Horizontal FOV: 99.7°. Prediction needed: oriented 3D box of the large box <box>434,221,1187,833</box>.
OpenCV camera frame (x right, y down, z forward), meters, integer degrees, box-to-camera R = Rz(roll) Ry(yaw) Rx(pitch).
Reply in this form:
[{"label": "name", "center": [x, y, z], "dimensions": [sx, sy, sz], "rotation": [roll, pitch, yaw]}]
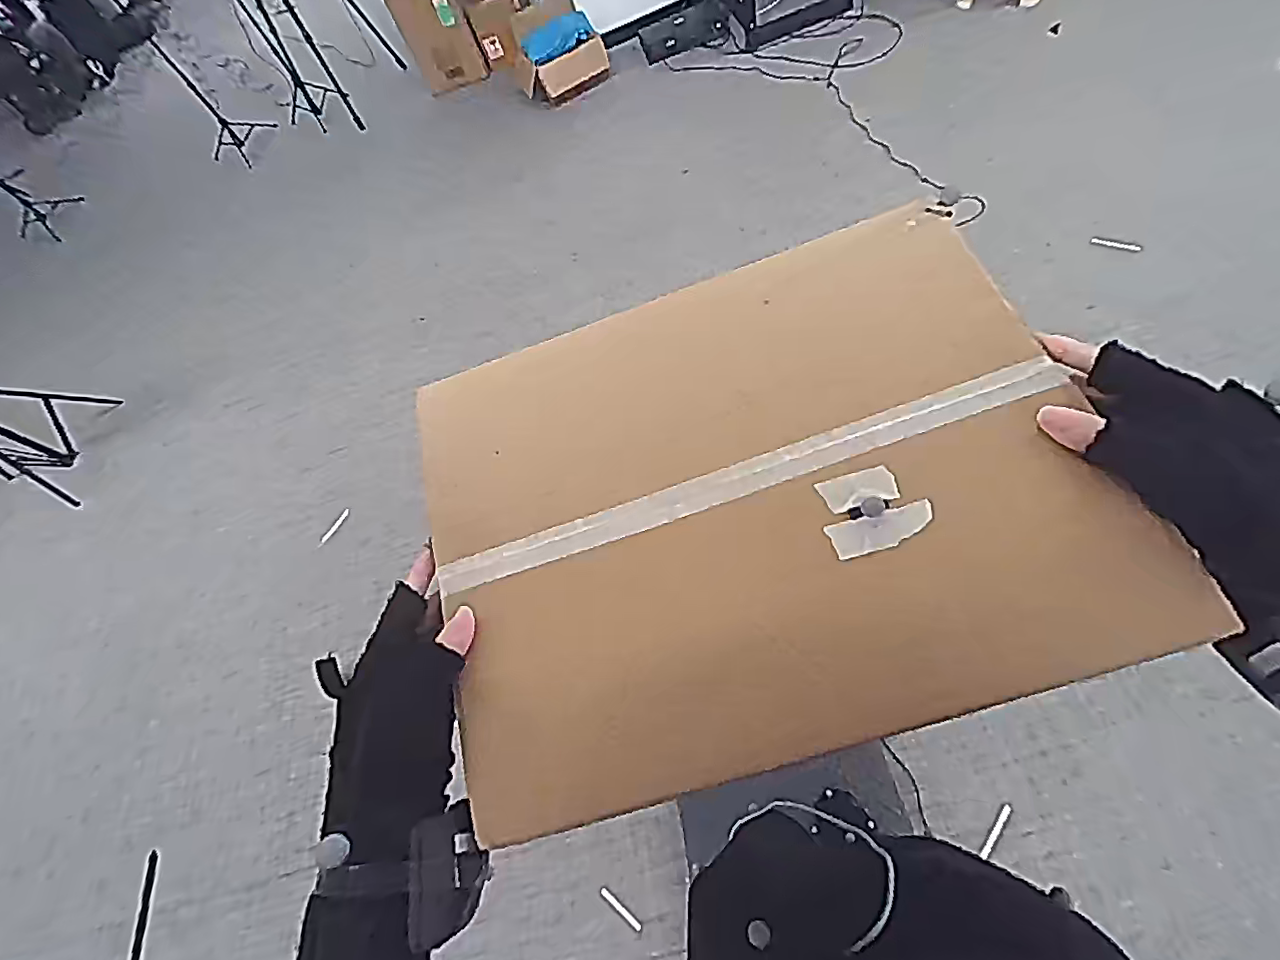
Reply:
[{"label": "large box", "center": [0.090, 0.058, 0.492], "dimensions": [0.408, 0.320, 0.320], "rotation": [-19, 67, 4]}]
